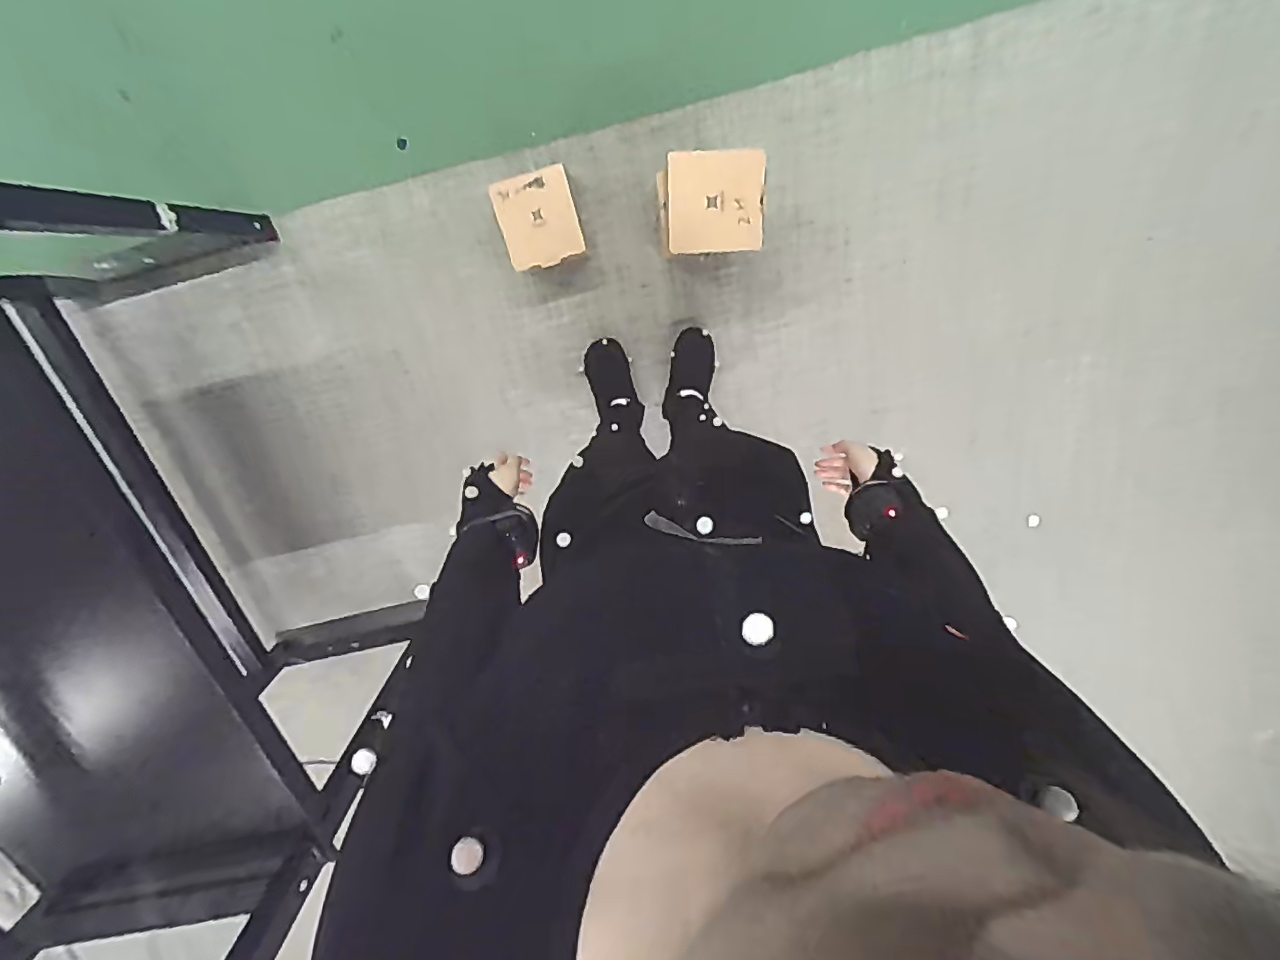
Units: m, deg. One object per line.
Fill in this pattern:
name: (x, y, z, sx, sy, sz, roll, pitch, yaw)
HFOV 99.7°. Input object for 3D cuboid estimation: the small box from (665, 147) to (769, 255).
small box: (0.137, -0.523, 1.031, 0.179, 0.176, 0.168, -2, 113, 1)

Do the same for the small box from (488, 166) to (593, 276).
small box: (-0.209, -0.564, 1.192, 0.168, 0.176, 0.179, -14, 111, 6)
